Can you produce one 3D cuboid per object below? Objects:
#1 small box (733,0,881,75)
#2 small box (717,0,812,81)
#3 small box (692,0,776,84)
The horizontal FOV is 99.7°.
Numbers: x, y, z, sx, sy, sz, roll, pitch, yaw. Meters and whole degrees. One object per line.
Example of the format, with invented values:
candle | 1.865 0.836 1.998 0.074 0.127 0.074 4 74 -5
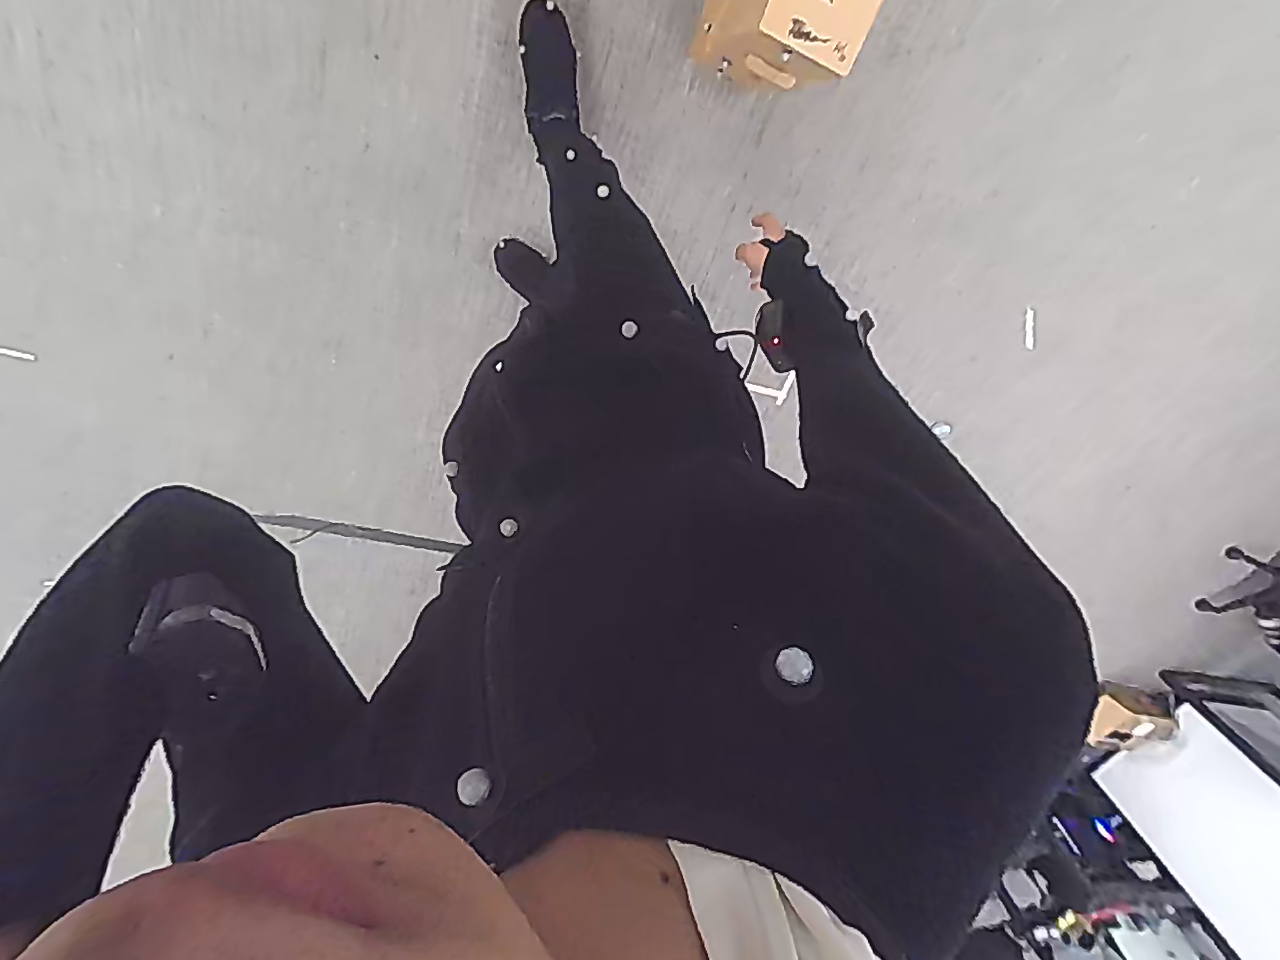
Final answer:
small box | 0.267 -0.768 0.841 0.168 0.176 0.179 14 120 -19
small box | 0.255 -0.857 0.980 0.168 0.176 0.179 13 121 -19
small box | 0.223 -0.950 1.112 0.168 0.176 0.179 14 121 -19
